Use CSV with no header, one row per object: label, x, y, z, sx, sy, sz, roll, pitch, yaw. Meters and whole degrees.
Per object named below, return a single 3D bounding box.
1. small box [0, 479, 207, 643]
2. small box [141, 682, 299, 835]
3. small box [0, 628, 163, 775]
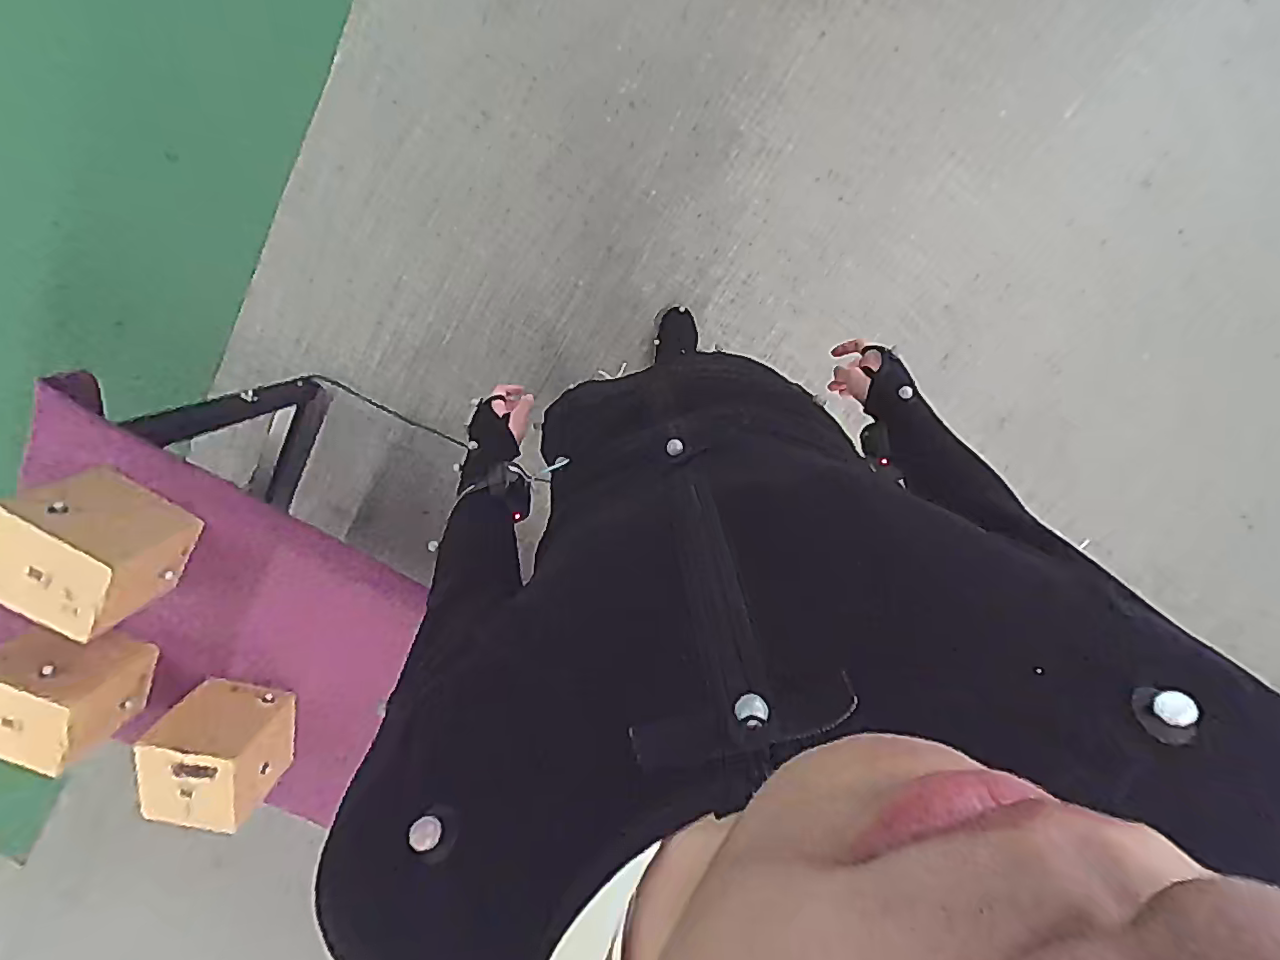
small box,-0.865,0.117,0.868,0.179,0.176,0.168,35,108,-10
small box,-0.765,0.506,1.002,0.168,0.176,0.179,13,109,-3
small box,-1.022,0.376,0.966,0.179,0.176,0.168,25,107,-8
